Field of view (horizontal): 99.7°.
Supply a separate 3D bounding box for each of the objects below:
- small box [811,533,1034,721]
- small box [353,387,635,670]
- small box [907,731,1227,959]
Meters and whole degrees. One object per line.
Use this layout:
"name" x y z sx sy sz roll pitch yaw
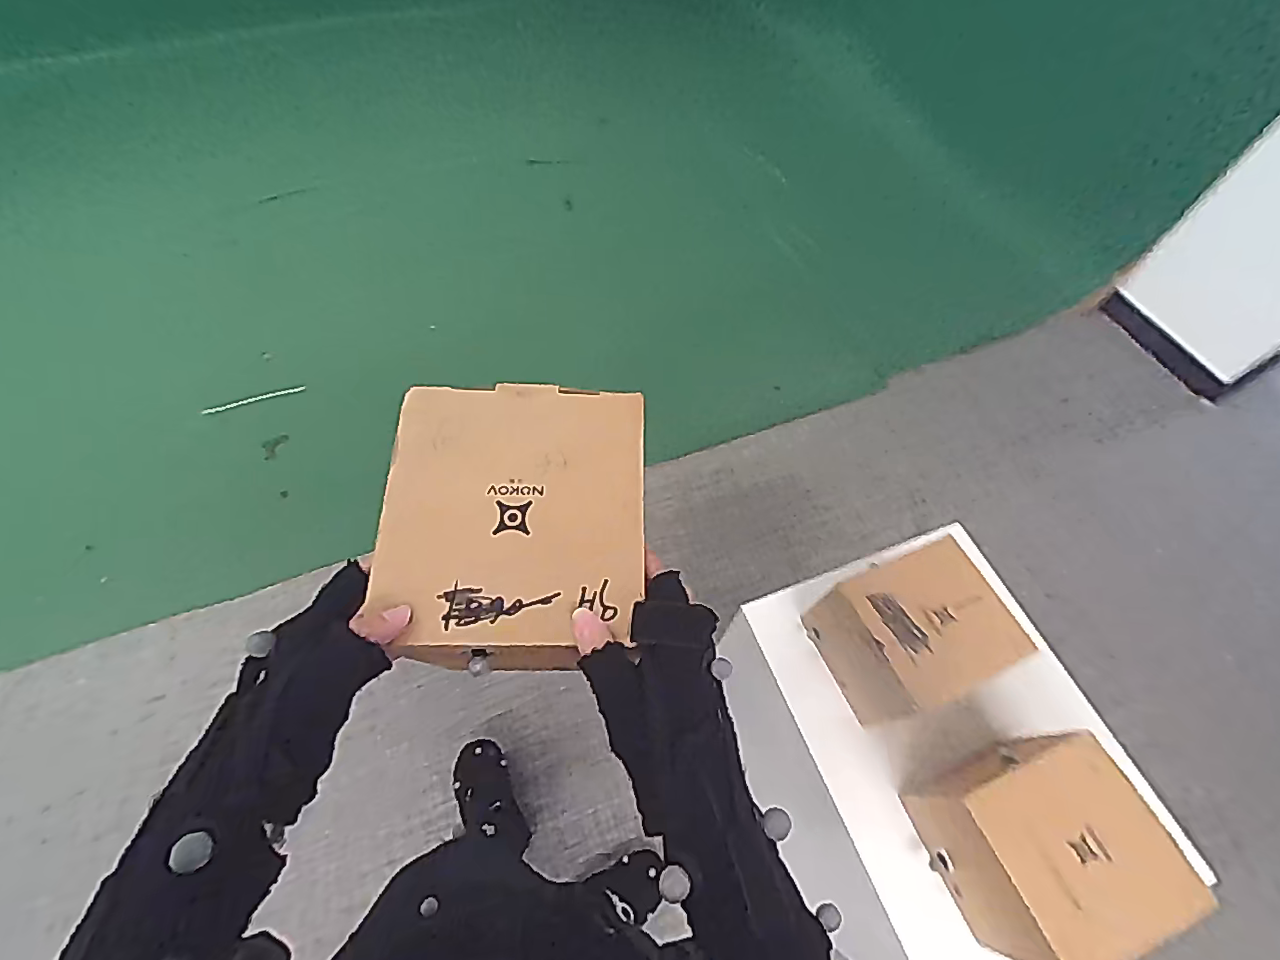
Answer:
"small box" 0.349 0.200 0.715 0.179 0.176 0.168 -20 63 -12
"small box" -0.090 0.047 0.423 0.168 0.176 0.179 0 65 -3
"small box" 0.437 0.395 0.590 0.179 0.176 0.168 -21 62 -10
